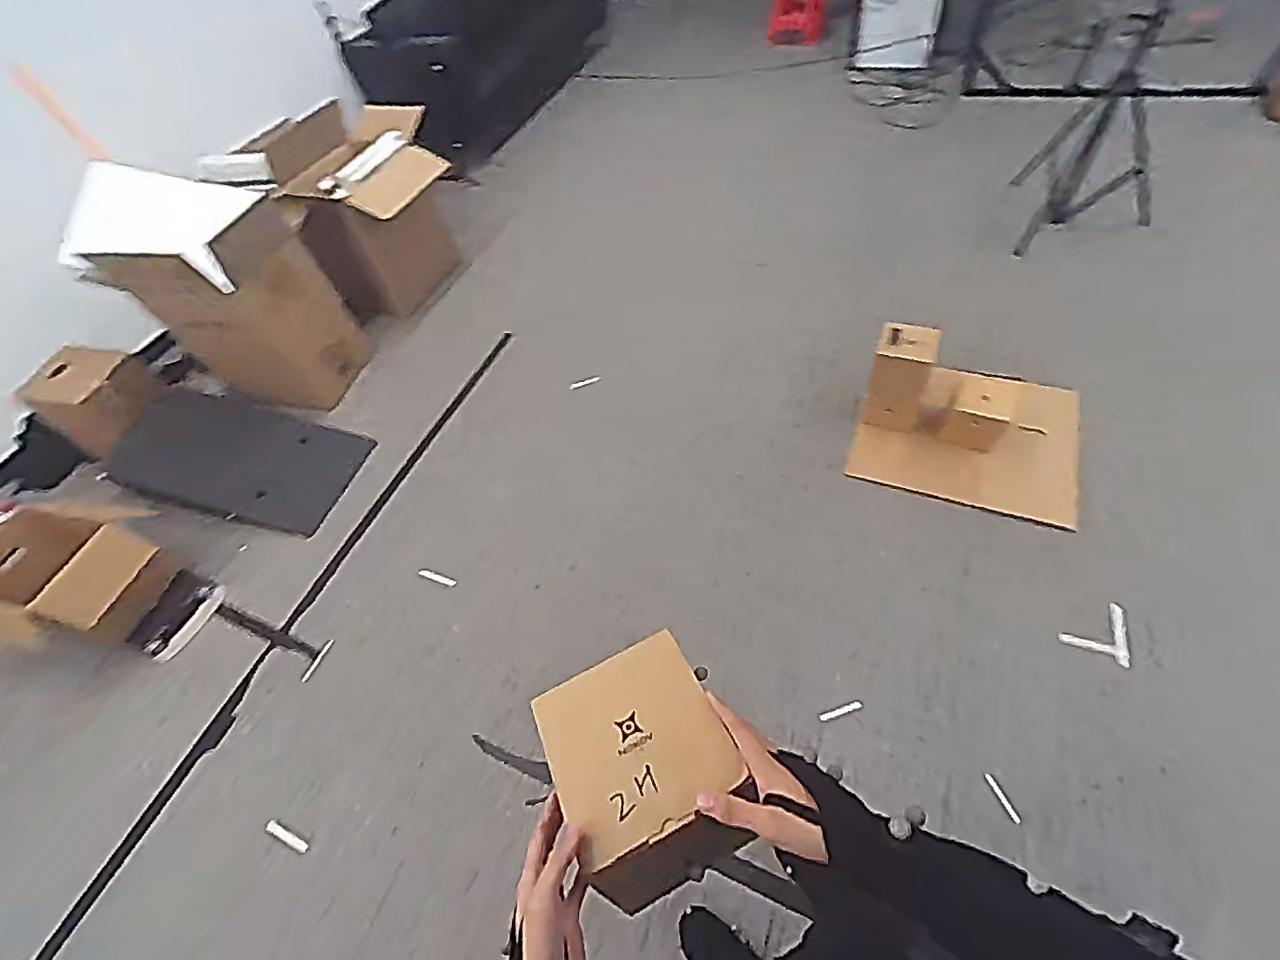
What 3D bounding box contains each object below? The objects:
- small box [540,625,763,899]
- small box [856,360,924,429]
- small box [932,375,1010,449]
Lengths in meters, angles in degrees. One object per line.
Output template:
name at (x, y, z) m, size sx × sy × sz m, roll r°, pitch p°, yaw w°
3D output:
small box at (0.014, 0.297, 0.575) m, size 0.168 × 0.176 × 0.179 m, roll -25°, pitch 43°, yaw -8°
small box at (0.901, -0.307, 1.957) m, size 0.179 × 0.176 × 0.168 m, roll 15°, pitch 59°, yaw 20°
small box at (1.138, -0.231, 1.864) m, size 0.179 × 0.176 × 0.168 m, roll 17°, pitch 60°, yaw 20°
